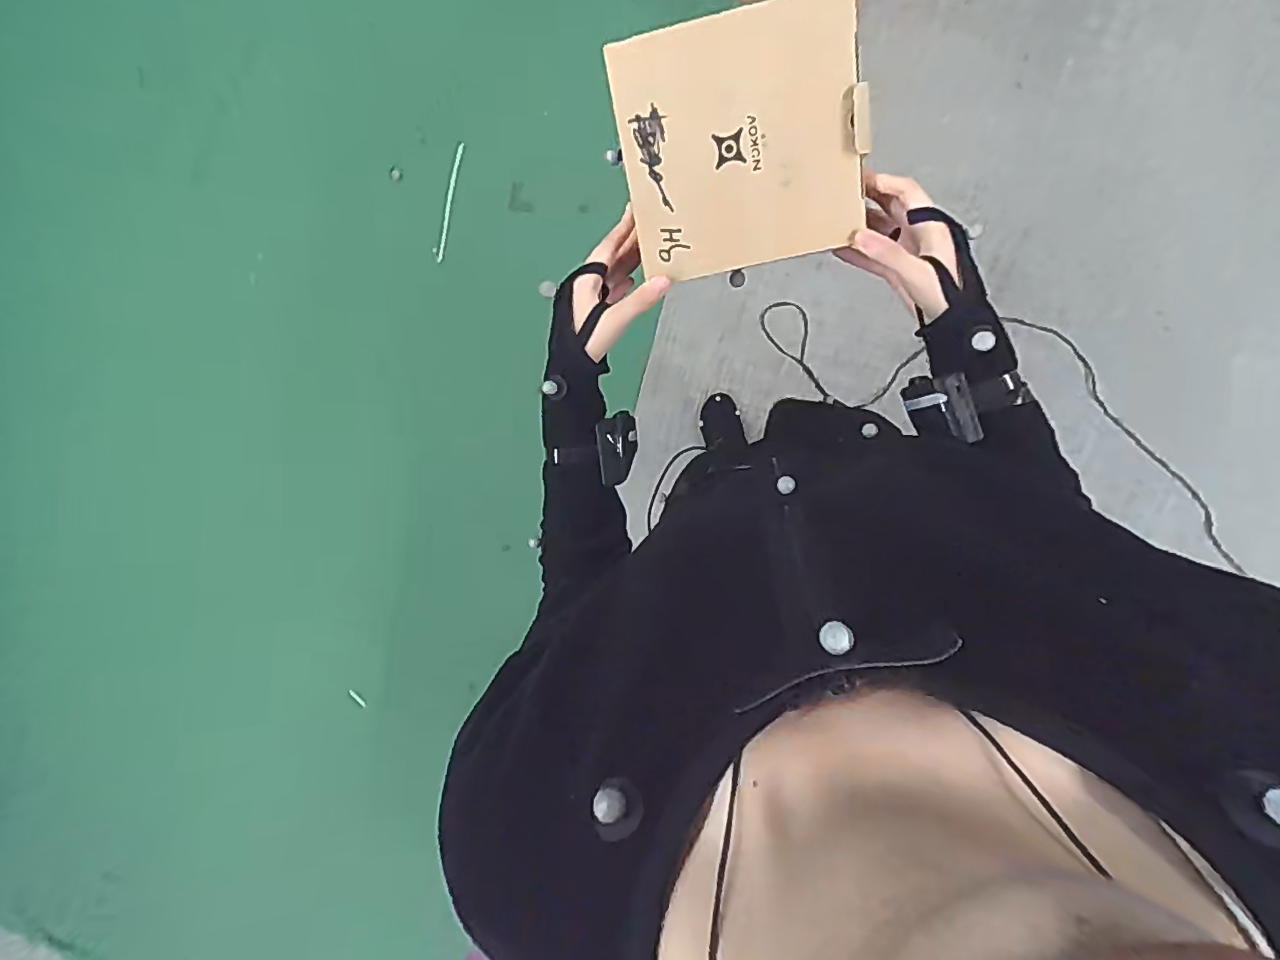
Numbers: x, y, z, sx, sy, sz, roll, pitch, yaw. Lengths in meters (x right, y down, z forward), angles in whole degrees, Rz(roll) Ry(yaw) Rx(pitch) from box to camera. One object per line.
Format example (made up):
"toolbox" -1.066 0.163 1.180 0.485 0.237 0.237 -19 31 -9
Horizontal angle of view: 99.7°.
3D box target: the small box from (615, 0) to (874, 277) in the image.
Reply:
"small box" 0.081 -0.276 0.465 0.179 0.176 0.168 -9 109 5
